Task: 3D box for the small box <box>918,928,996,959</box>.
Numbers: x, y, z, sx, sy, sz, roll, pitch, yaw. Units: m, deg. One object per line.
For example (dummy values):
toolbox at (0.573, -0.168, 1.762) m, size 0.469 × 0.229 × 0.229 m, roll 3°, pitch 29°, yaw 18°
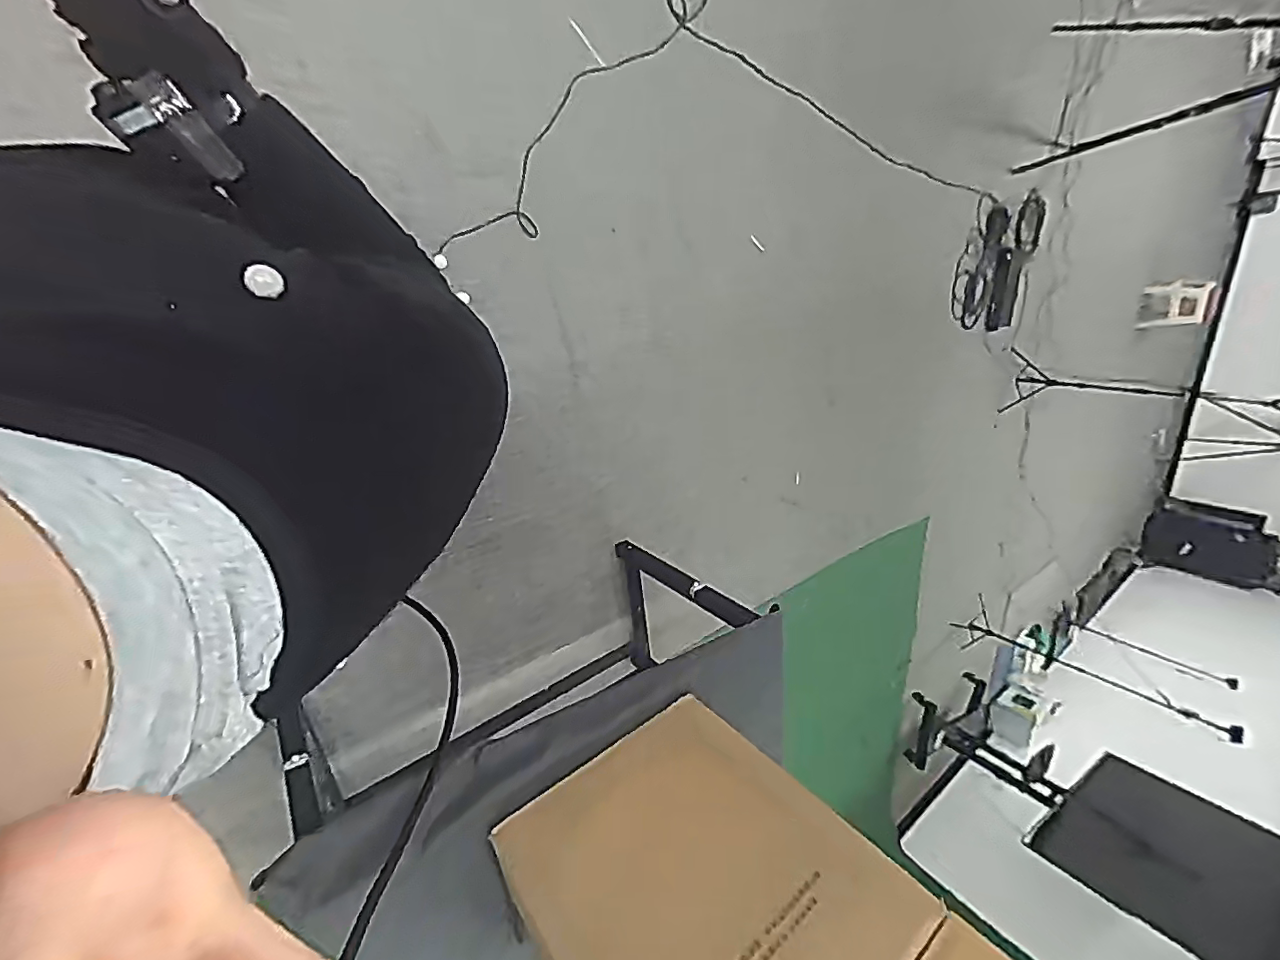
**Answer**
small box at (0.489, 0.824, 0.799) m, size 0.168 × 0.176 × 0.179 m, roll -23°, pitch 117°, yaw -31°
